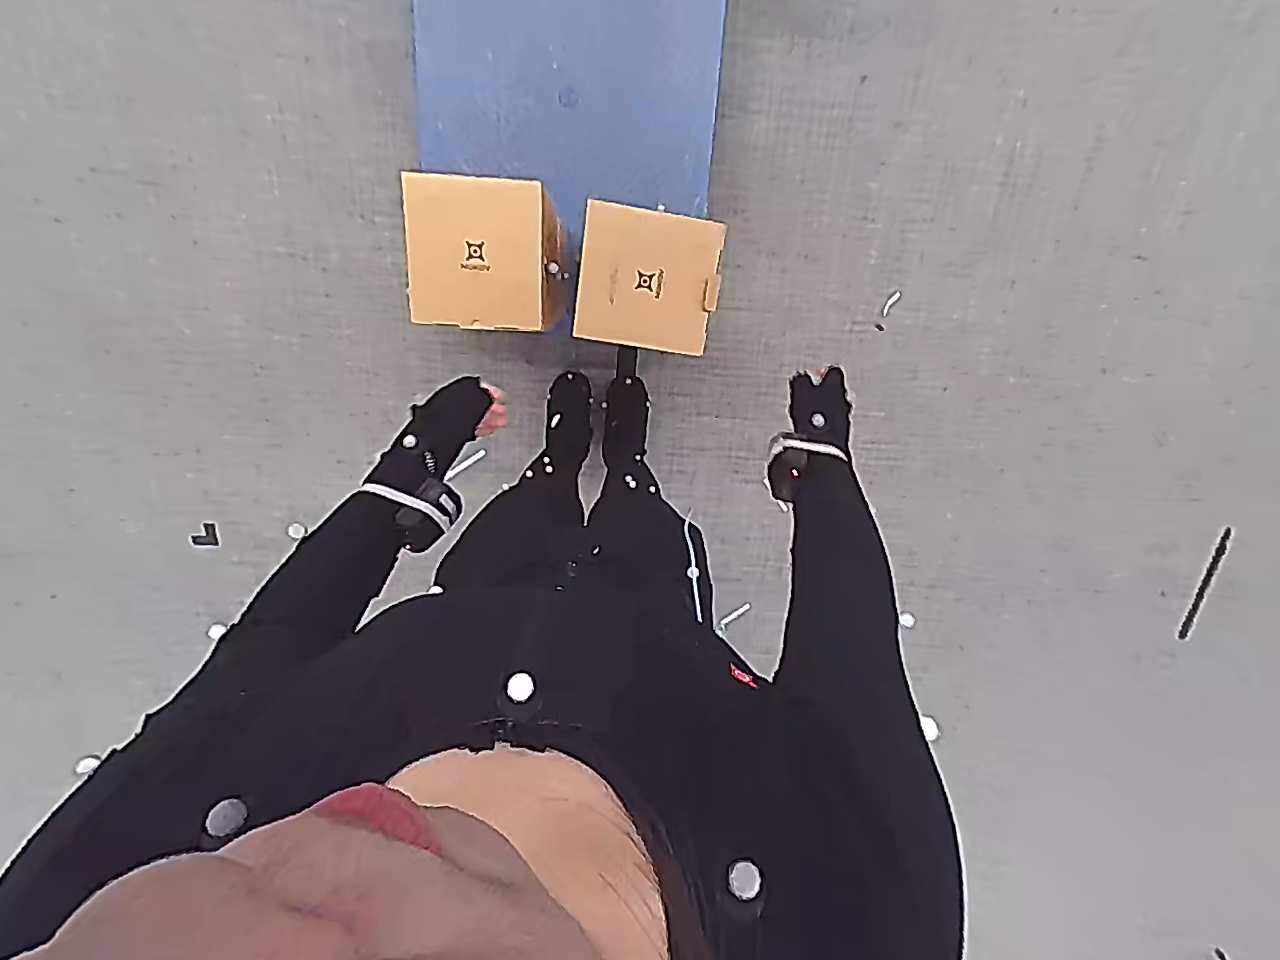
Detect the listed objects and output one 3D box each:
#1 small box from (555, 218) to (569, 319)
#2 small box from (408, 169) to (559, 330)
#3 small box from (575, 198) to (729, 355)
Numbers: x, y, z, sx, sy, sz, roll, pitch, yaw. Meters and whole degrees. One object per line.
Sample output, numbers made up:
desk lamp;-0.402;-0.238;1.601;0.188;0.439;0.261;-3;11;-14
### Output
small box;-0.227;-0.412;1.054;0.168;0.176;0.179;2;109;-4
small box;-0.204;-0.306;0.744;0.168;0.176;0.179;2;109;-4
small box;0.009;-0.281;0.763;0.179;0.176;0.168;8;108;-5
